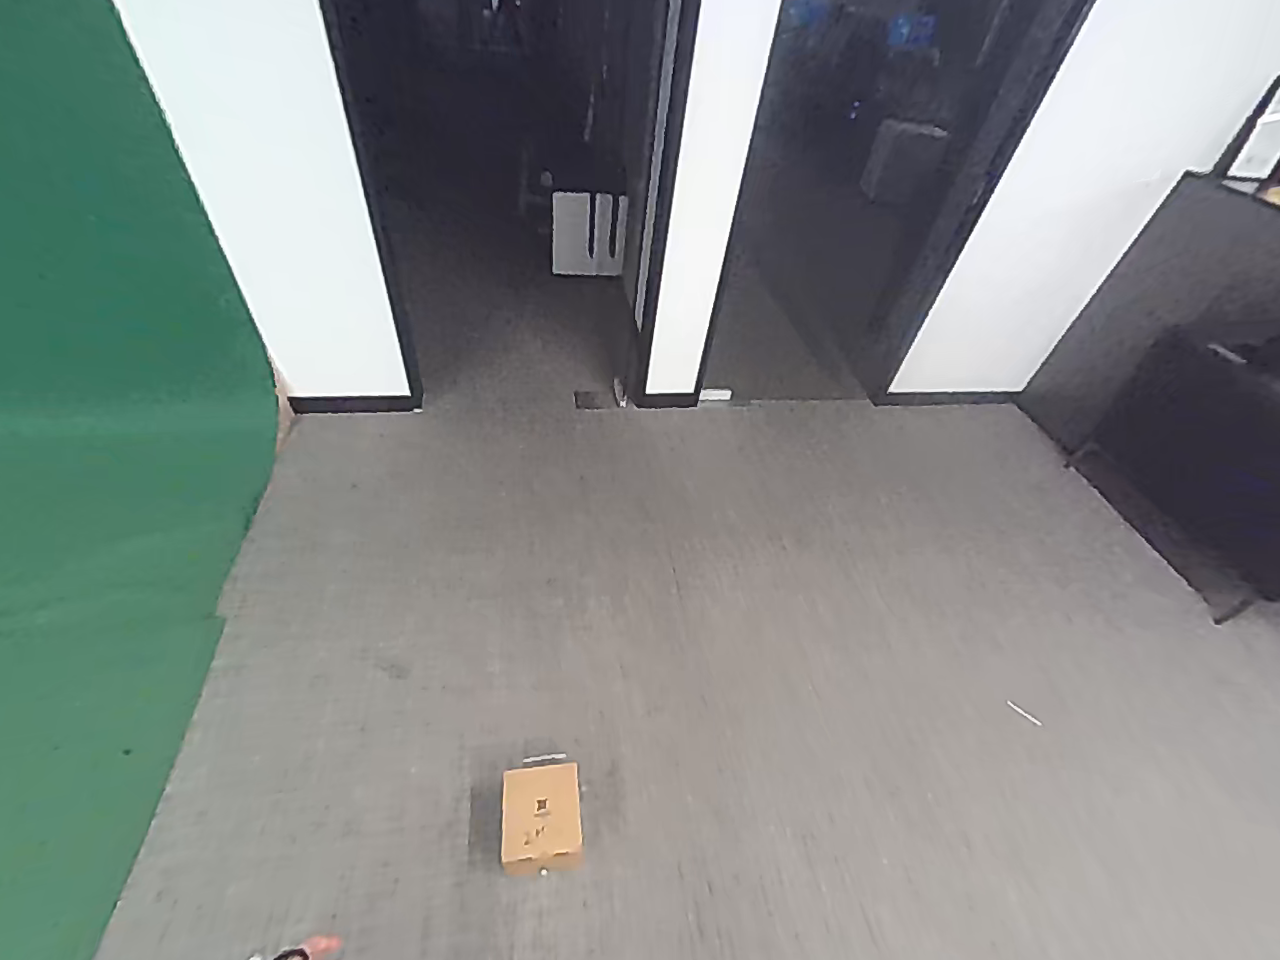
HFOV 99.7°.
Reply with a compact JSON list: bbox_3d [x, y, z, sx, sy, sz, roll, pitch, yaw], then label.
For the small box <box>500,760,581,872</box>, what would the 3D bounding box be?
[{"bbox_3d":[-0.223,0.759,1.222,0.168,0.176,0.179,-2,47,-10],"label":"small box"}]
